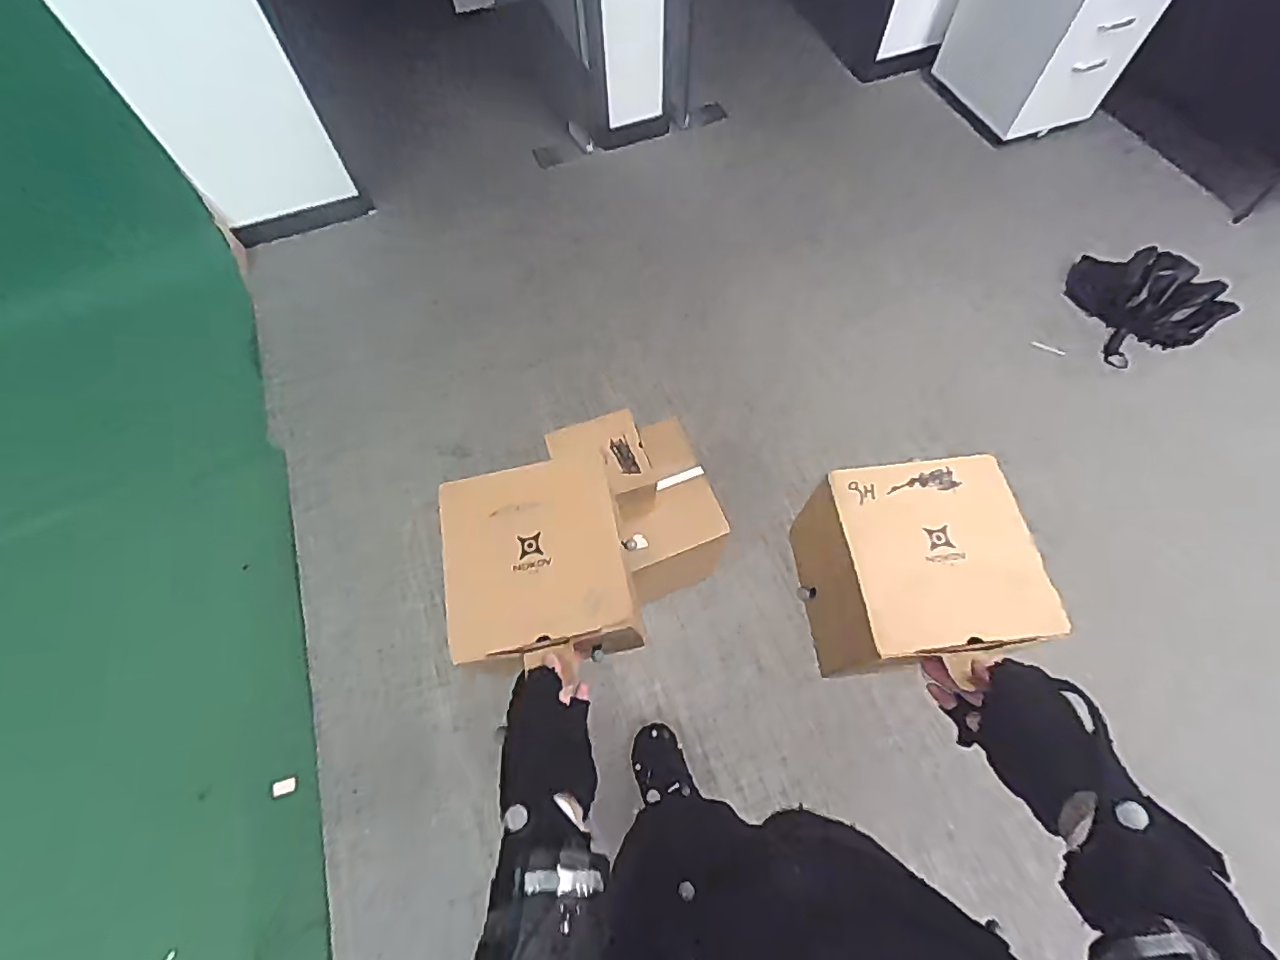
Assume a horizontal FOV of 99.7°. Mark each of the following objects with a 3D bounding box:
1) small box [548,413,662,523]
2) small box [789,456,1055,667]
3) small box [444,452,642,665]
[{"bbox_3d":[-0.071,-0.005,1.093,0.179,0.176,0.168,-21,71,-9],"label":"small box"},{"bbox_3d":[0.267,0.095,0.564,0.168,0.176,0.179,-6,66,-1],"label":"small box"},{"bbox_3d":[-0.096,0.097,0.590,0.168,0.176,0.179,-13,66,-1],"label":"small box"}]
